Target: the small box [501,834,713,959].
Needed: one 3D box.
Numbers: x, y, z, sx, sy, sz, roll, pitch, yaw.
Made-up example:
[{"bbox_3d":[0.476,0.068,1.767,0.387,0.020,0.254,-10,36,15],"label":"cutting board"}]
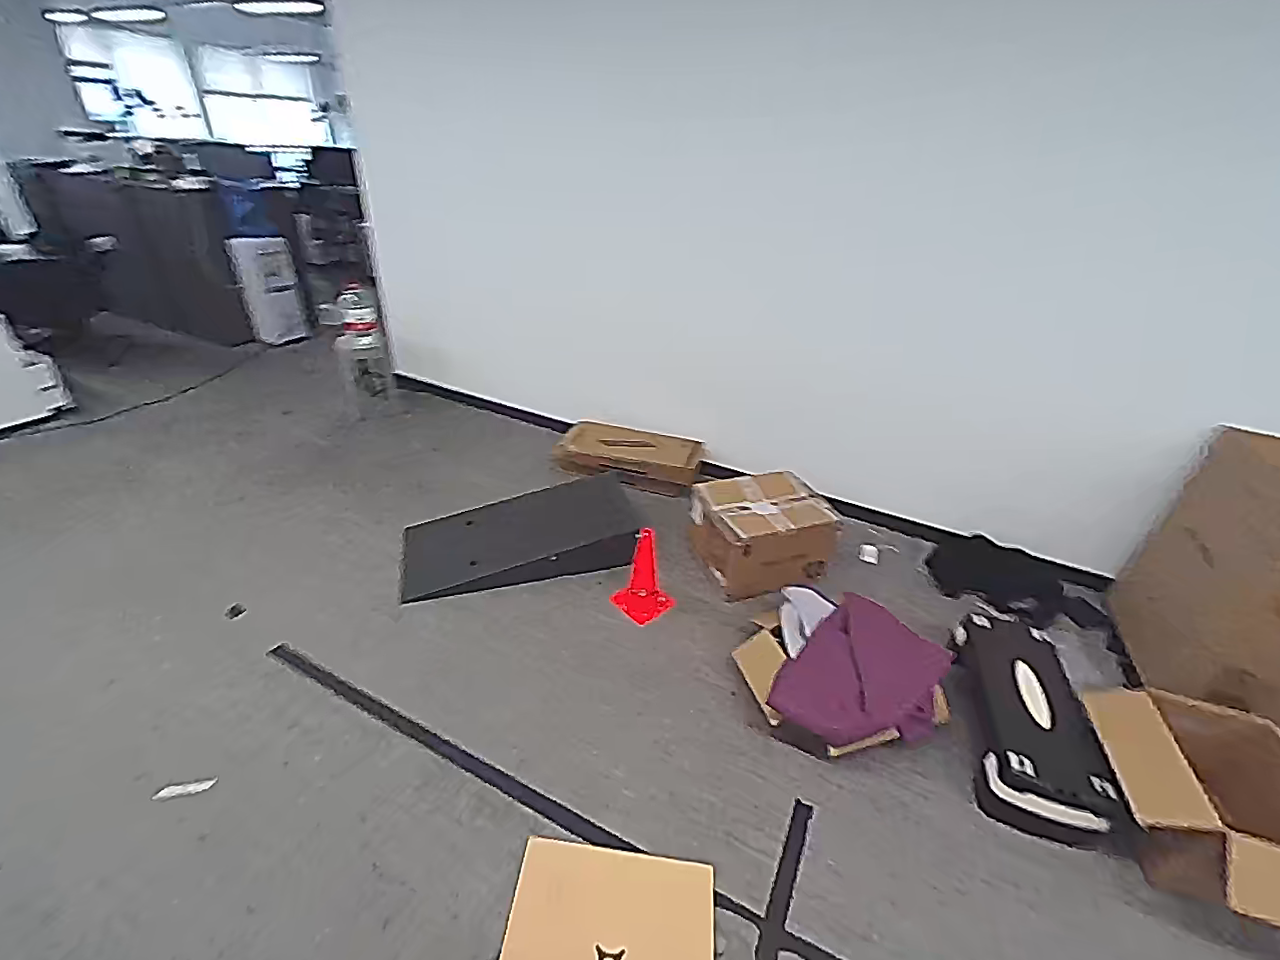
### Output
[{"bbox_3d":[-0.034,0.438,0.453,0.168,0.176,0.179,7,36,1],"label":"small box"}]
